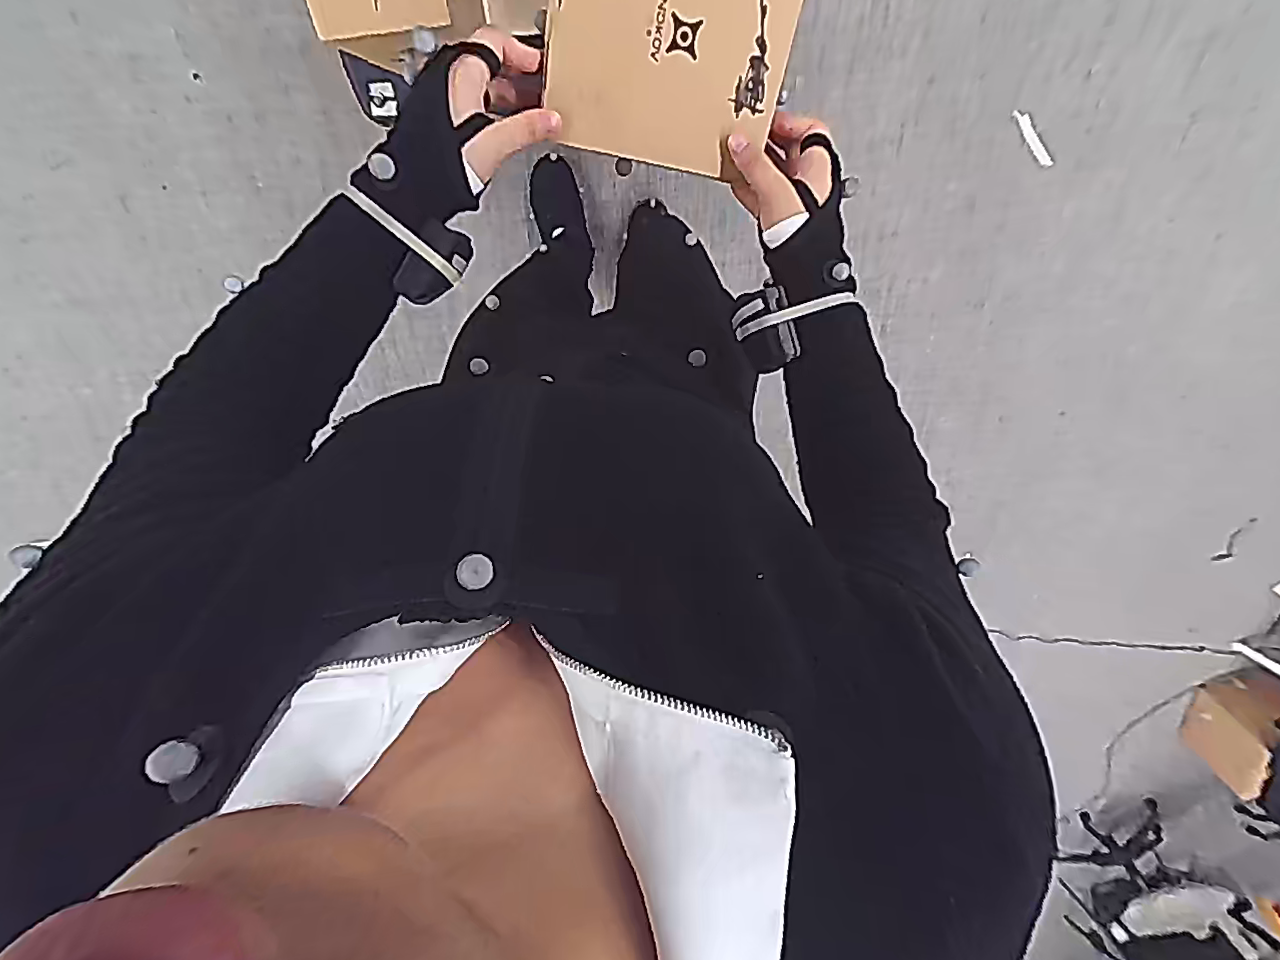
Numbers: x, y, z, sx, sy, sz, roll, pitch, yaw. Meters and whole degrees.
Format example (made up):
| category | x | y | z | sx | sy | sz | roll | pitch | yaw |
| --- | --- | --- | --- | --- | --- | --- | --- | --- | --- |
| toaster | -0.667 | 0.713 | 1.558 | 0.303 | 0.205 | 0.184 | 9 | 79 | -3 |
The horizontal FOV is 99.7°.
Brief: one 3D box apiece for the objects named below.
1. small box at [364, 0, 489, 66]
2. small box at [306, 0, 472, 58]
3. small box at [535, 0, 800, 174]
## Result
| category | x | y | z | sx | sy | sz | roll | pitch | yaw |
| --- | --- | --- | --- | --- | --- | --- | --- | --- | --- |
| small box | -0.335 | -0.741 | 0.820 | 0.168 | 0.176 | 0.179 | -6 | 122 | -1 |
| small box | -0.324 | -0.658 | 0.679 | 0.168 | 0.176 | 0.179 | -7 | 123 | -1 |
| small box | 0.016 | -0.360 | 0.446 | 0.179 | 0.176 | 0.168 | 7 | 119 | -9 |
